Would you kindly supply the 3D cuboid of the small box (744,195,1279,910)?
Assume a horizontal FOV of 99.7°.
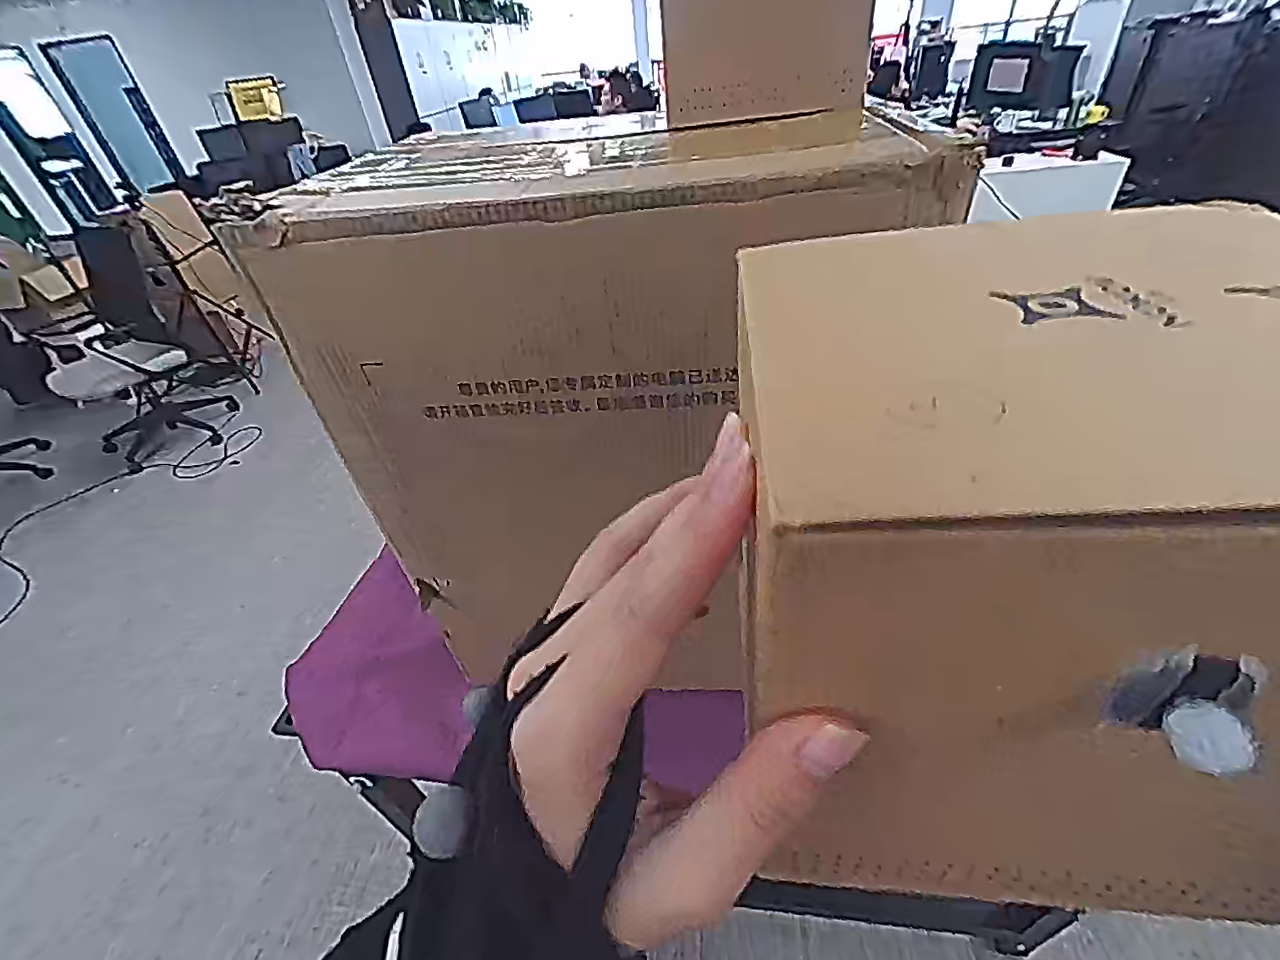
[{"bbox_3d":[0.128,0.018,0.186,0.179,0.176,0.168,-1,38,9],"label":"small box"}]
